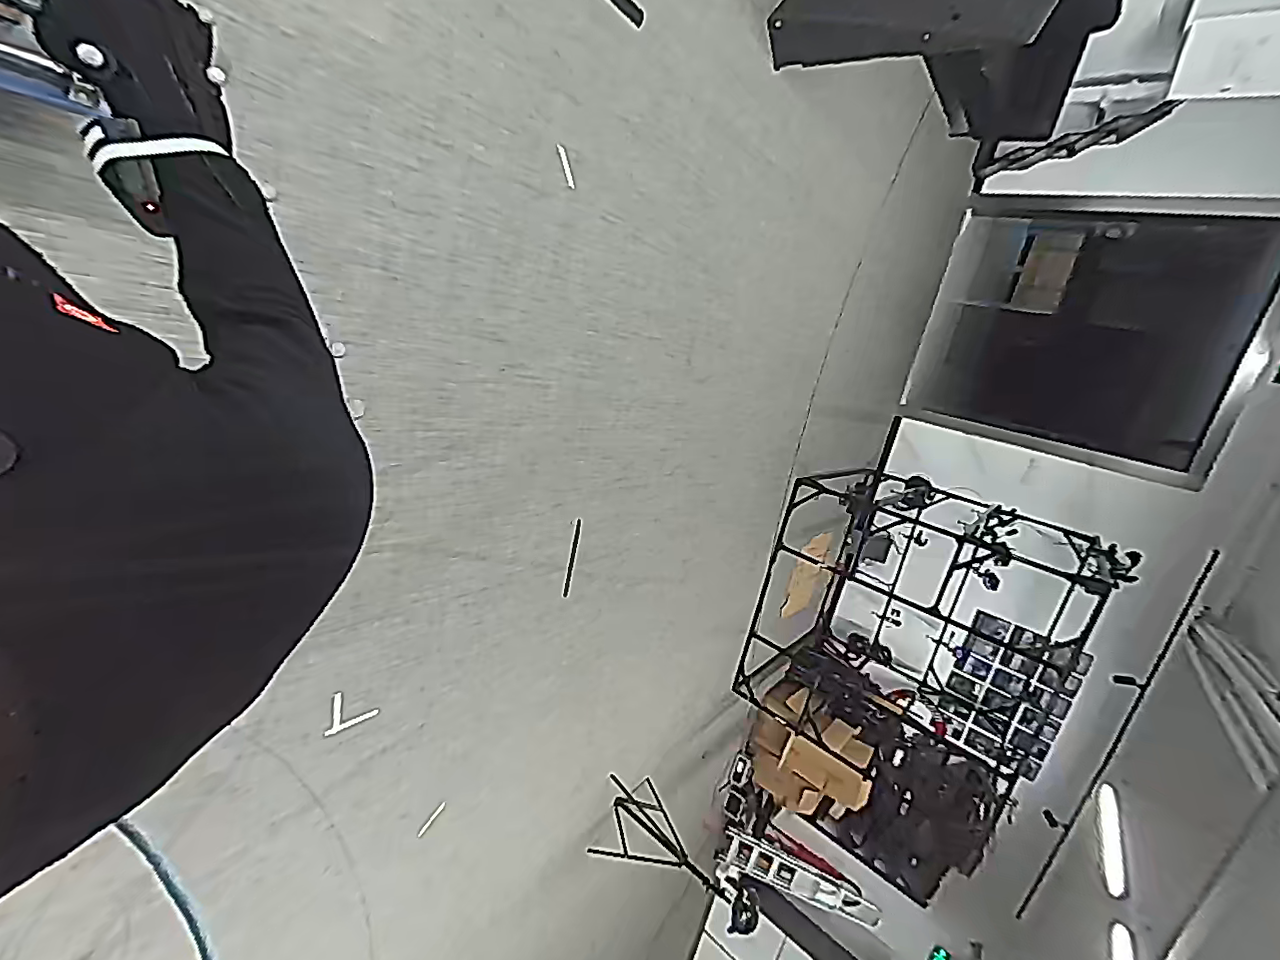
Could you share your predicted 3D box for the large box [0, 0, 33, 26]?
[{"bbox_3d":[-0.866,-0.717,0.489,0.408,0.320,0.320,-9,116,-53],"label":"large box"}]
